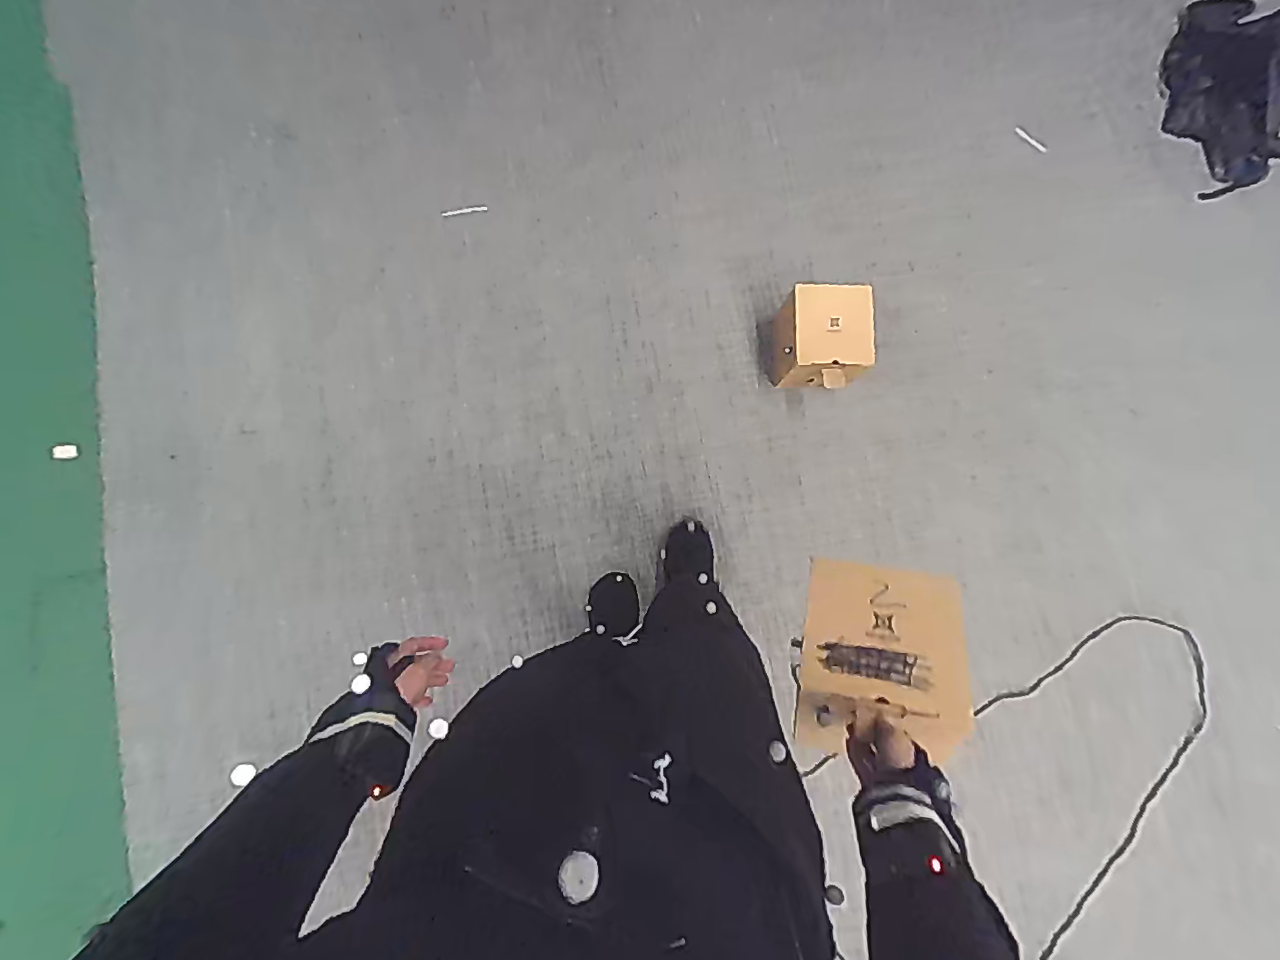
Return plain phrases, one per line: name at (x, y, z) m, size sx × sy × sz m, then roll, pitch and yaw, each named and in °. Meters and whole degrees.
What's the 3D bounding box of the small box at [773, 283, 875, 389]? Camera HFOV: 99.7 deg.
small box at (0.395, -0.311, 1.188) m, size 0.168 × 0.176 × 0.179 m, roll 1°, pitch 84°, yaw -2°
